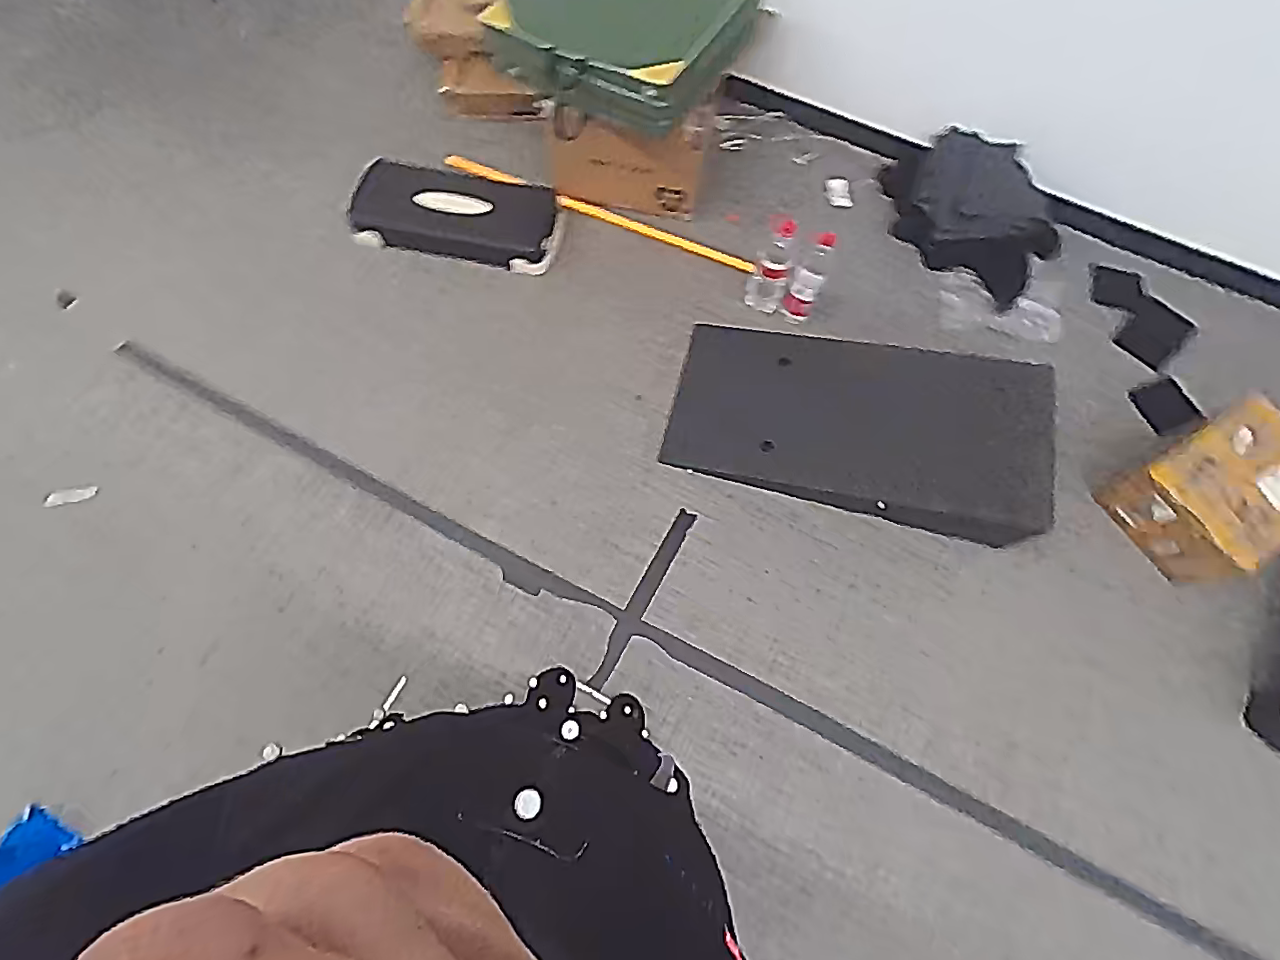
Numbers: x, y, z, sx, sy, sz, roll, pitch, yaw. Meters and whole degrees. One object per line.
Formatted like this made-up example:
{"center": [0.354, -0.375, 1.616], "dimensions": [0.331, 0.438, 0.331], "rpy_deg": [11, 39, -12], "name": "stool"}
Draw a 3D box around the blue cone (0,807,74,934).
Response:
{"center": [-1.351, 0.788, 1.021], "dimensions": [0.192, 0.380, 0.193], "rpy_deg": [28, 72, 10], "name": "blue cone"}
